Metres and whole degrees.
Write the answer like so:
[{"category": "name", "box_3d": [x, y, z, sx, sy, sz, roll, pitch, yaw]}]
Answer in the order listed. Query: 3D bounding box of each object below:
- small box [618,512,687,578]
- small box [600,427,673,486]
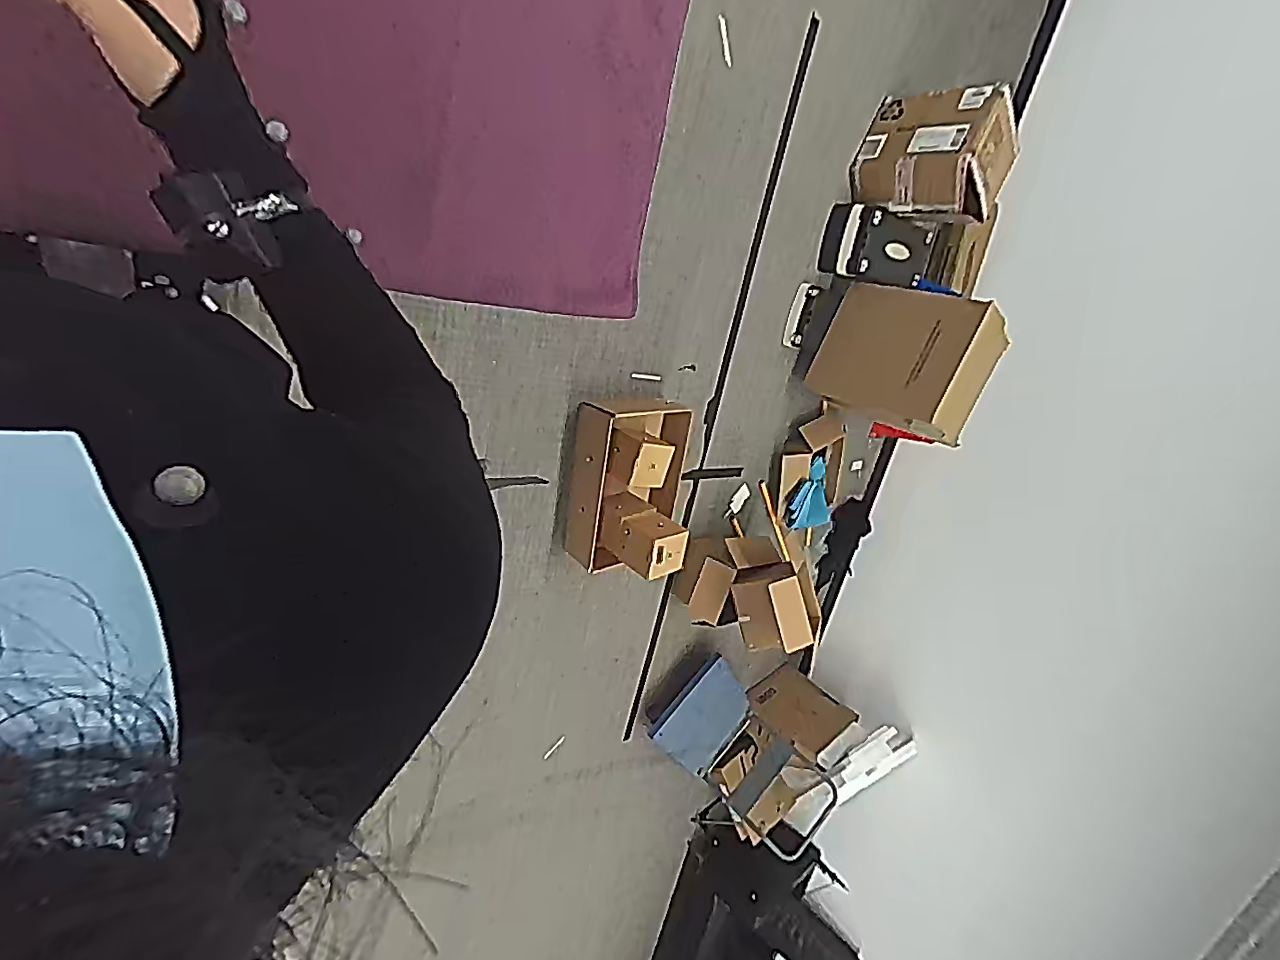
[{"category": "small box", "box_3d": [0.042, 0.232, 1.976, 0.179, 0.176, 0.168, -10, 119, -42]}, {"category": "small box", "box_3d": [-0.014, -0.088, 1.989, 0.179, 0.176, 0.168, 3, 112, -46]}]
